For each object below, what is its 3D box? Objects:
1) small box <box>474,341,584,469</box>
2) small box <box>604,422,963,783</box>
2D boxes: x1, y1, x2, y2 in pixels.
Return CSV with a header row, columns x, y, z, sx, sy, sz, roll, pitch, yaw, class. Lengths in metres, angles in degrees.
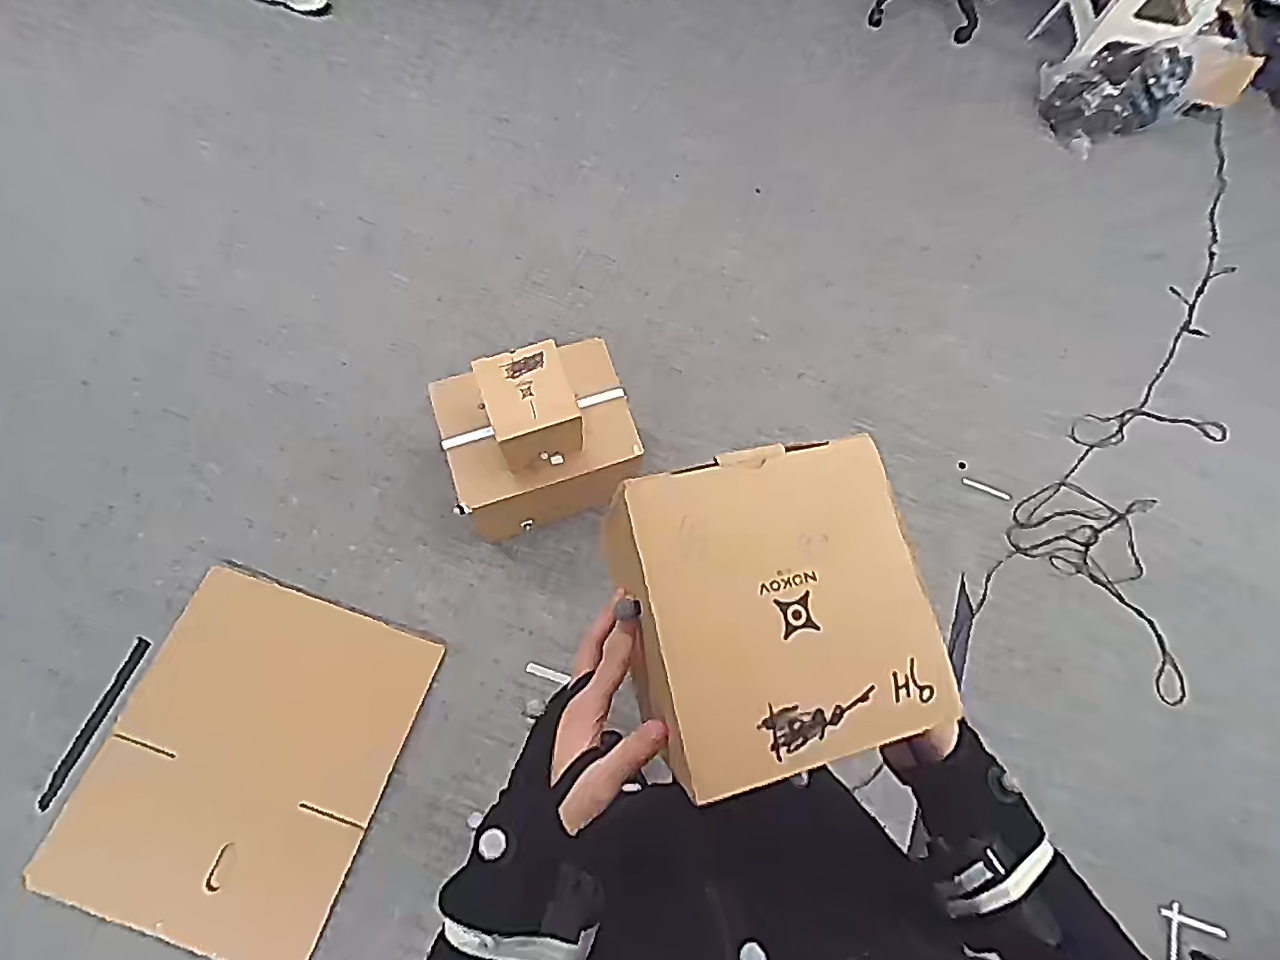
x,y,z,sx,sy,sz,roll,pitch,yaw,class
-0.218,-0.146,1.091,0.168,0.176,0.179,-19,75,-10,small box
0.074,0.079,0.385,0.168,0.176,0.179,-12,78,-11,small box
